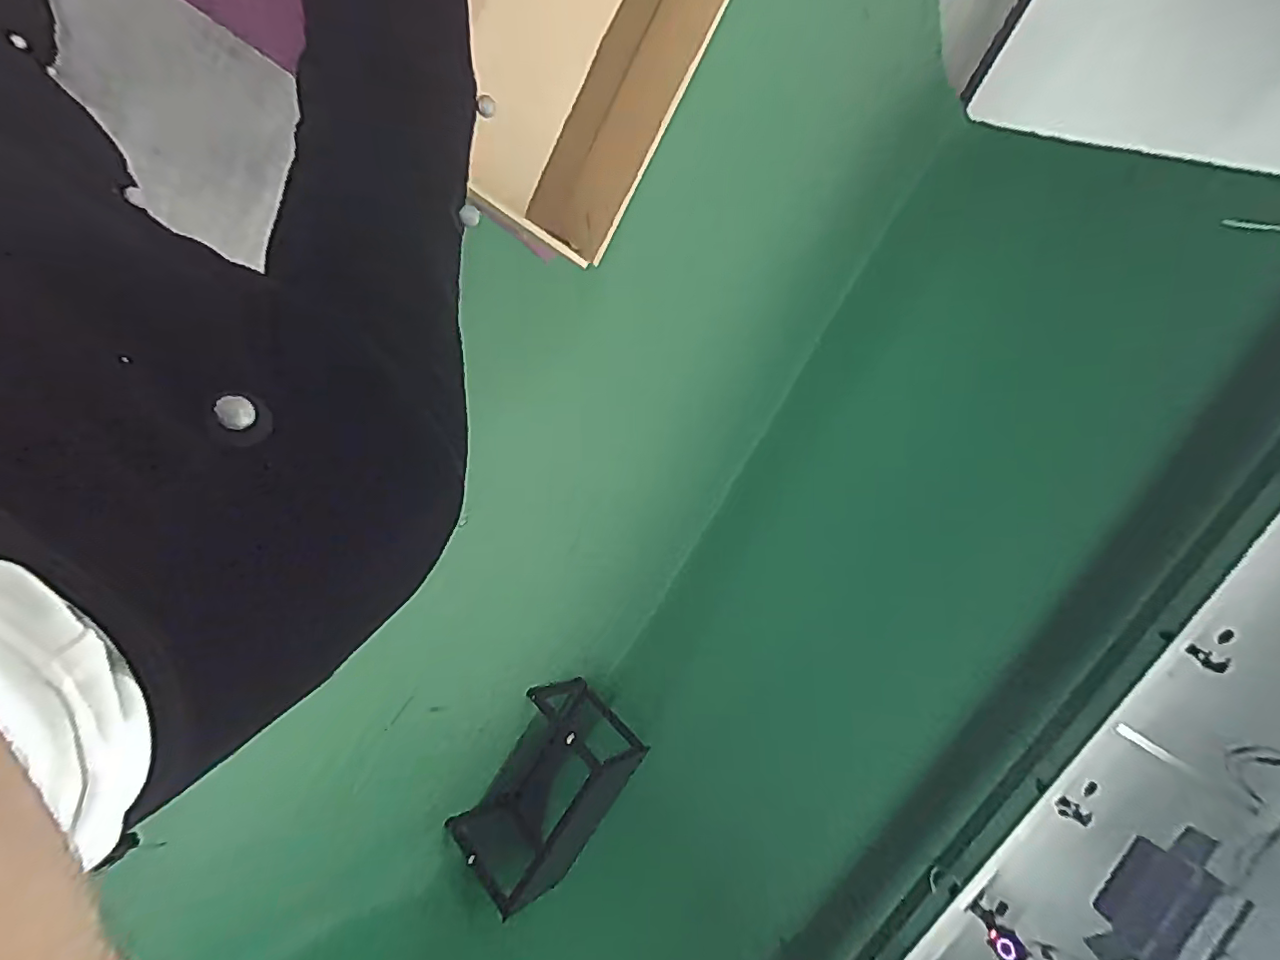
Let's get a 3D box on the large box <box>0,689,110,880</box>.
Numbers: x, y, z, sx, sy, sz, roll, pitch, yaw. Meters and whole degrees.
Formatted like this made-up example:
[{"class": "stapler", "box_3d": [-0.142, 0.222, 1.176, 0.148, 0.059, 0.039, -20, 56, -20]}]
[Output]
[{"class": "large box", "box_3d": [-1.740, 0.843, 1.406, 0.408, 0.320, 0.320, -28, 142, -39]}]
